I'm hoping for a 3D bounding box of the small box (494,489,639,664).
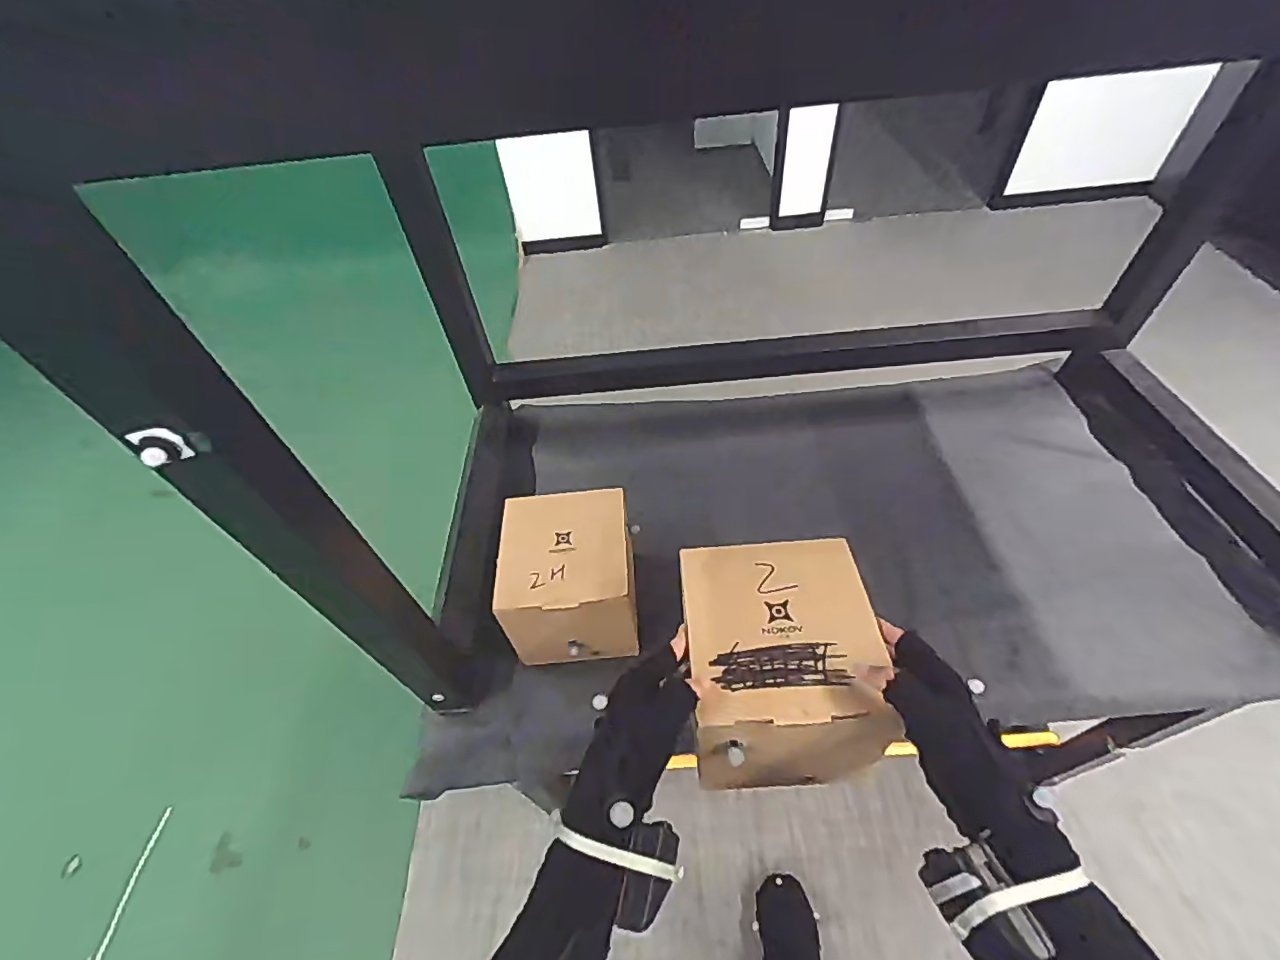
[{"bbox_3d":[-0.092,0.136,0.757,0.168,0.176,0.179,-5,49,1],"label":"small box"}]
